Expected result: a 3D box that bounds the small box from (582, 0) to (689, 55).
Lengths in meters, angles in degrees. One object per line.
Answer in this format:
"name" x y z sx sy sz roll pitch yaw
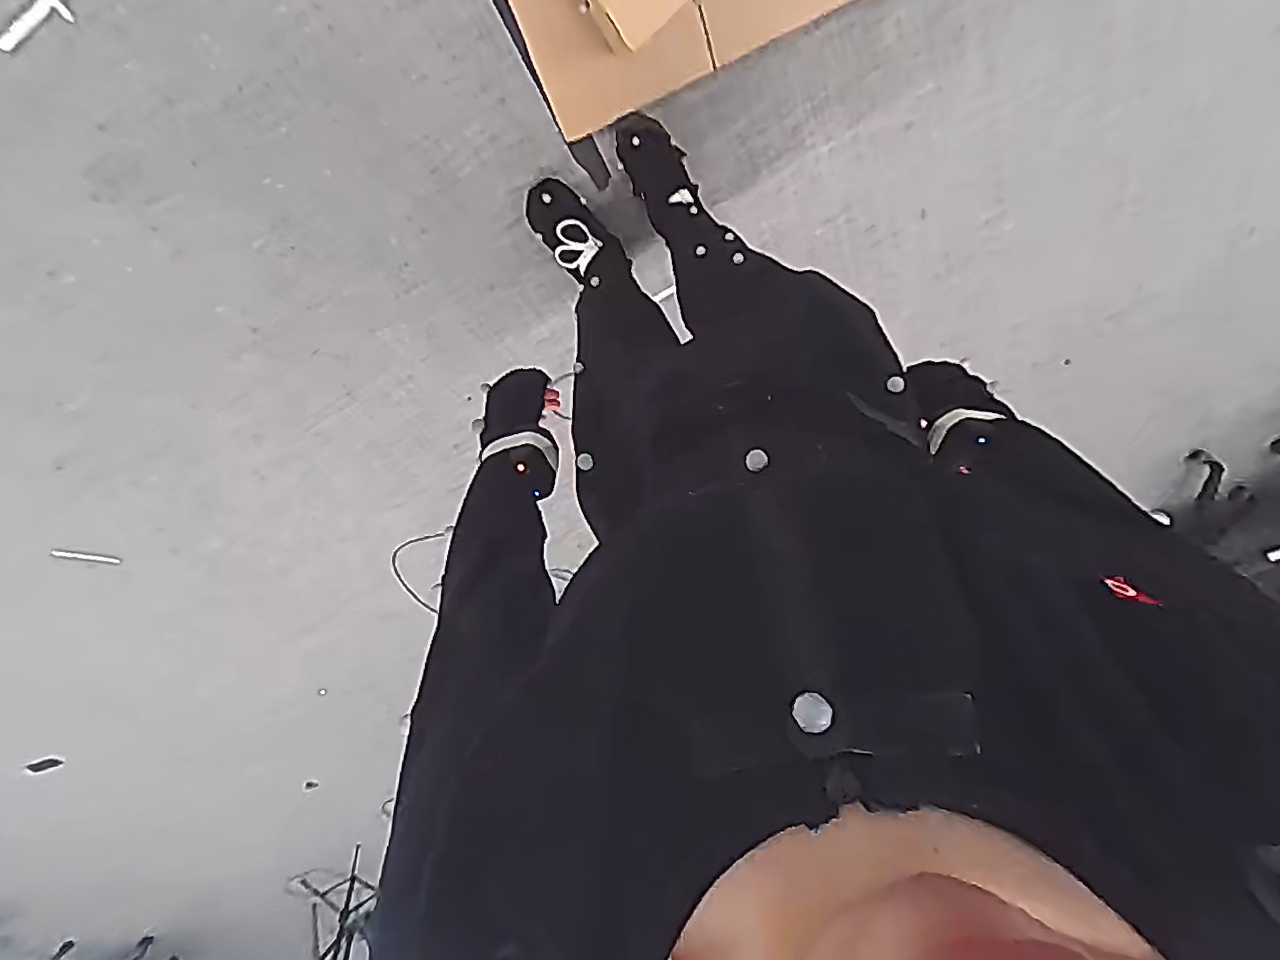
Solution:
"small box" -0.006 -0.780 0.805 0.179 0.176 0.168 -35 125 15
